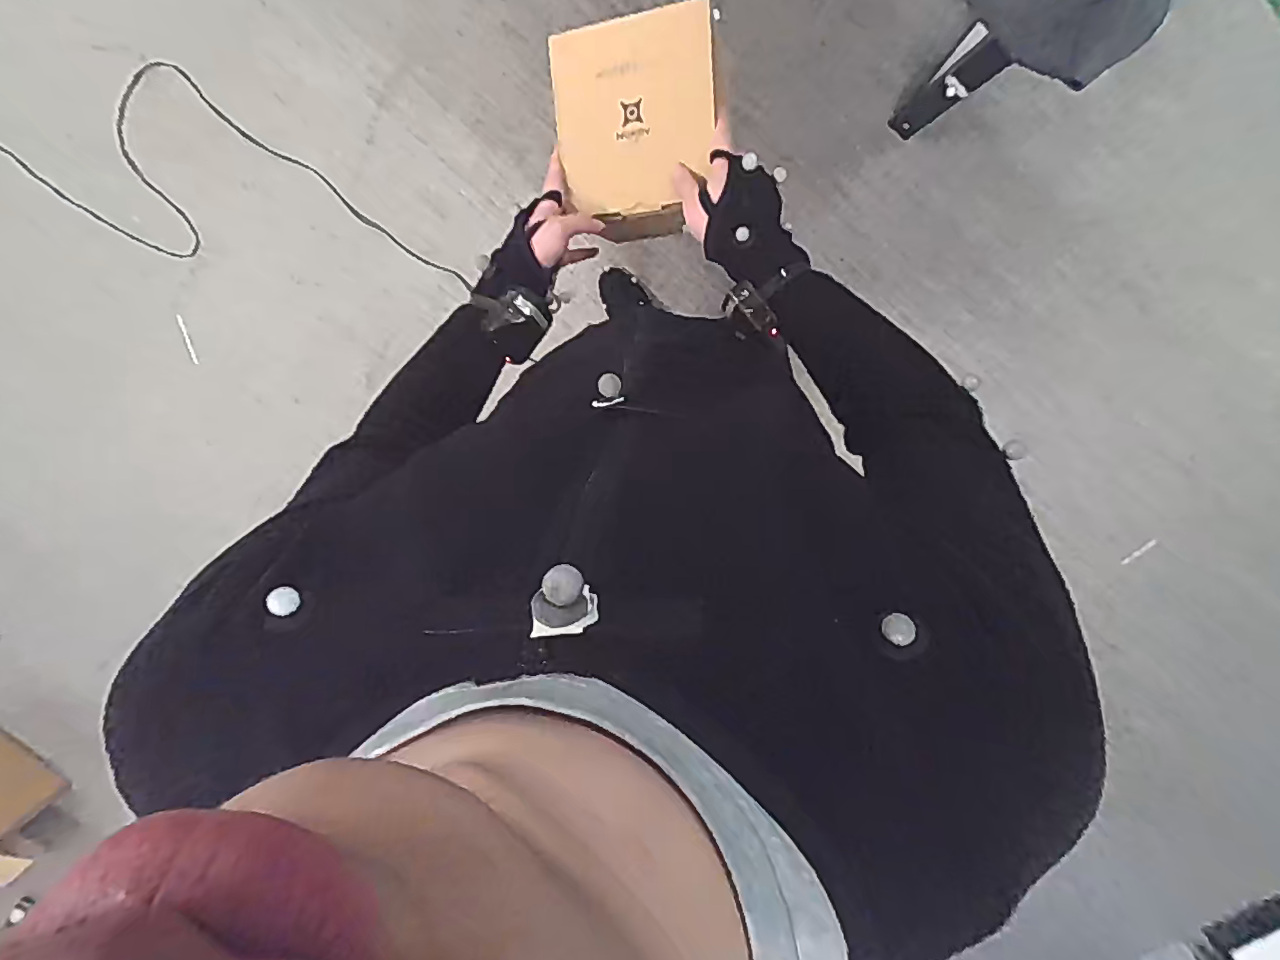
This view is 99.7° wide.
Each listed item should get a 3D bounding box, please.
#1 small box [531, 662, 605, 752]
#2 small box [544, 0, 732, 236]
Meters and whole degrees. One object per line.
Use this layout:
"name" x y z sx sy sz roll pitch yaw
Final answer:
"small box" -0.228 0.739 1.775 0.168 0.176 0.179 38 108 -8
"small box" 0.011 -0.381 0.603 0.168 0.176 0.179 -2 104 15
